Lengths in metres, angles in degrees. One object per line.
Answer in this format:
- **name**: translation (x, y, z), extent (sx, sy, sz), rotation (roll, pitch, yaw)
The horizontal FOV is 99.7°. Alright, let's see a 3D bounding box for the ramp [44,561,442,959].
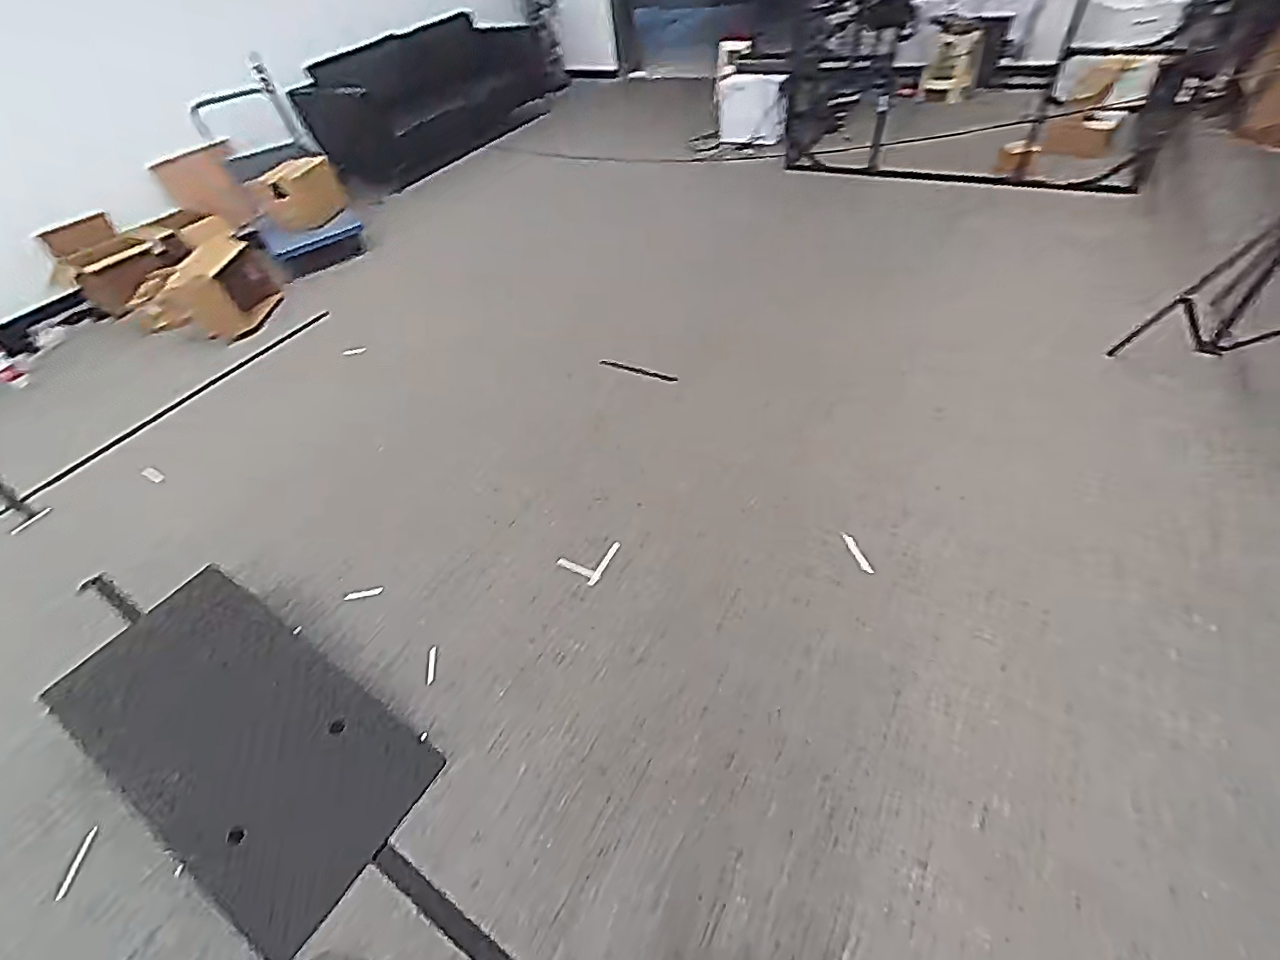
- **ramp**: translation (-1.045, 0.640, 1.422), extent (0.991, 0.206, 0.509), rotation (22, 53, 25)
